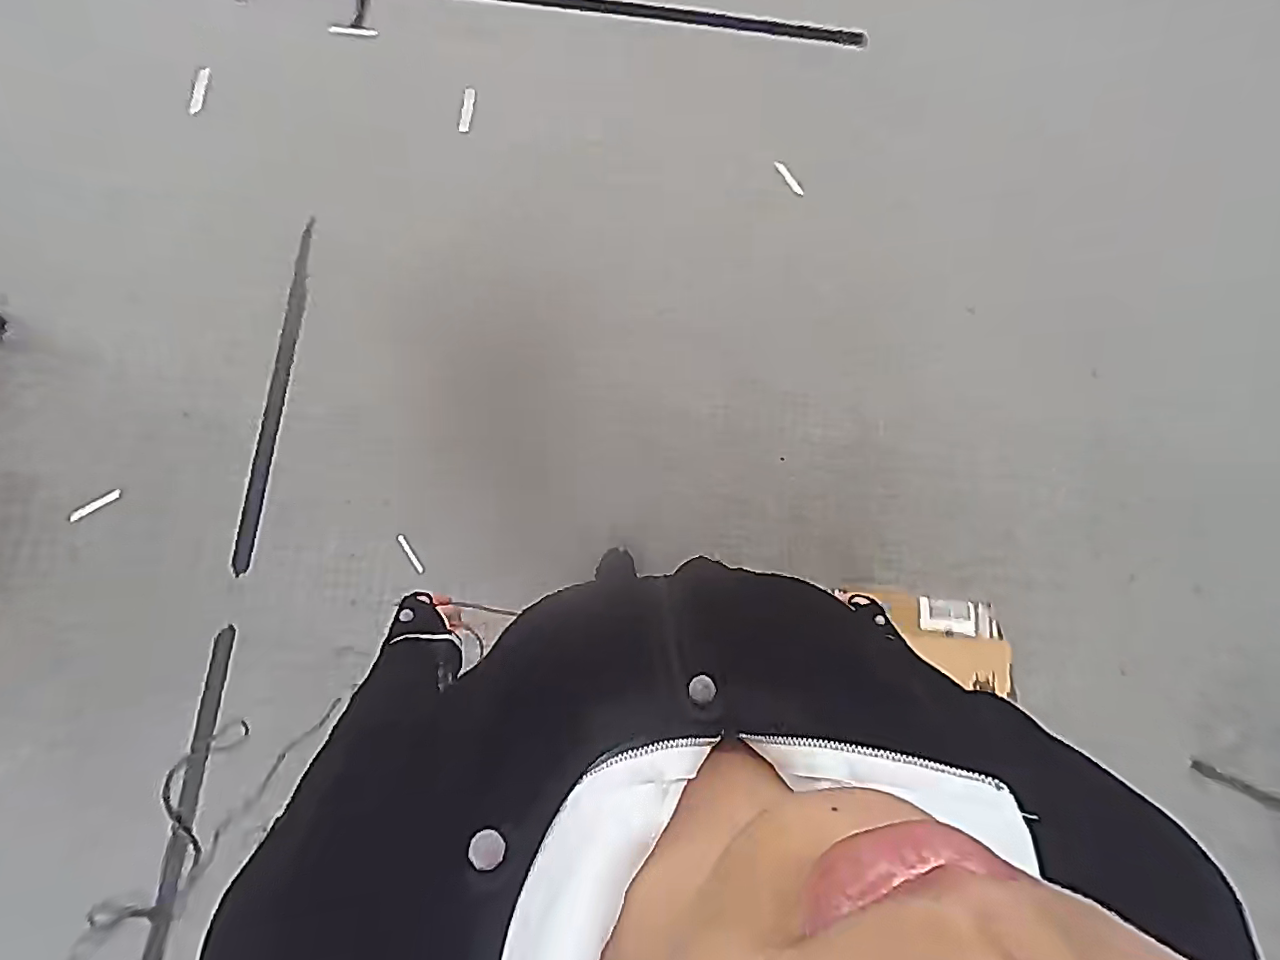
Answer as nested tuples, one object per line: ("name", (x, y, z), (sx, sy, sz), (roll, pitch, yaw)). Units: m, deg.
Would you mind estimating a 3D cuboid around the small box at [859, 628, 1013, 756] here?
("small box", (0.496, 0.352, 0.925), (0.179, 0.176, 0.168), (4, 81, 2))
